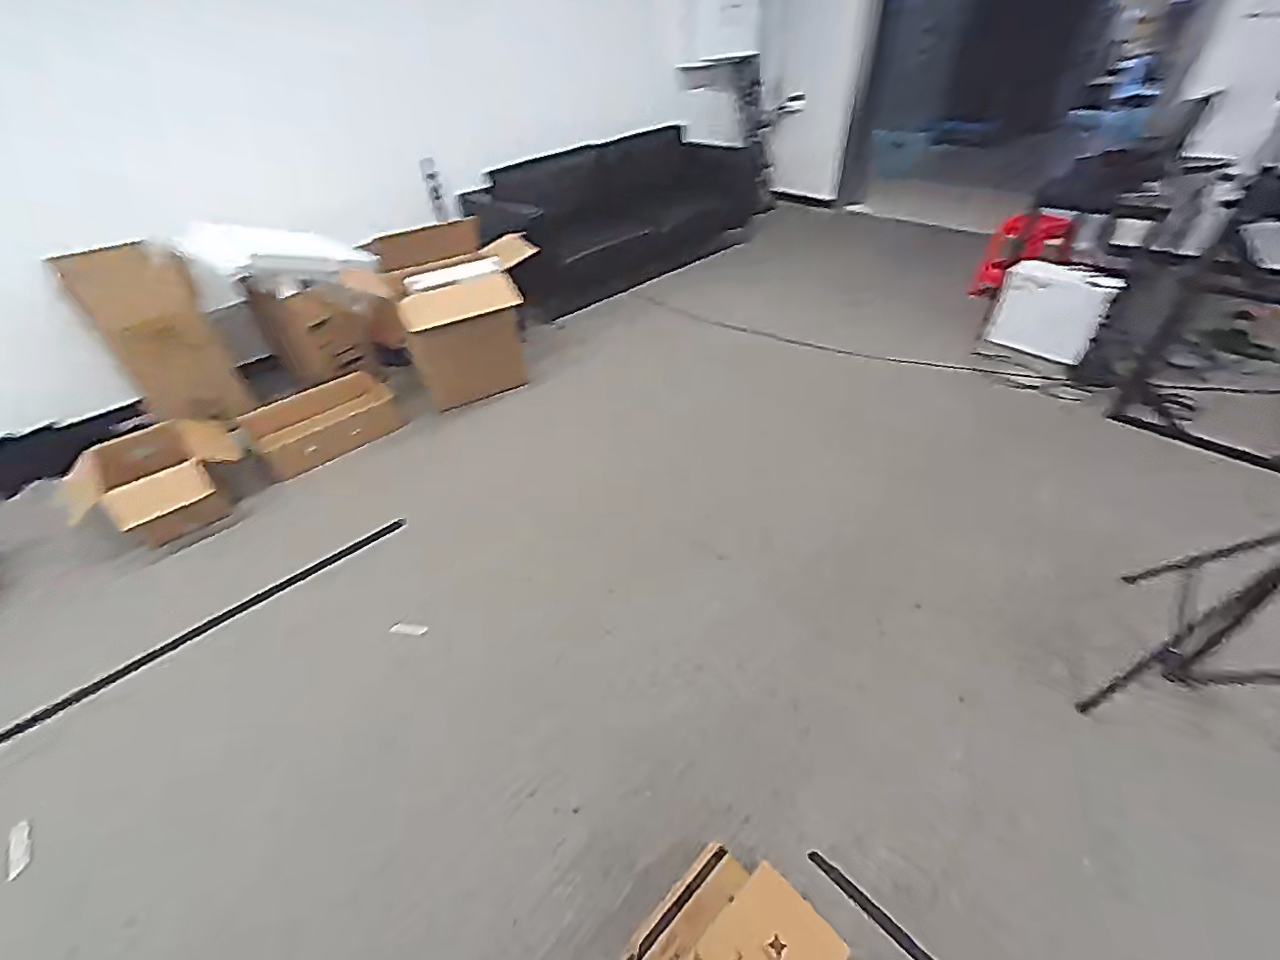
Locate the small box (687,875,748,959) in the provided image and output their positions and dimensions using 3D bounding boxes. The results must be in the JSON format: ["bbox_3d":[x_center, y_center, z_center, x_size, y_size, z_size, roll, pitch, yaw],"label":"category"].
[{"bbox_3d":[0.199,0.888,0.995,0.179,0.176,0.168,-34,49,-30],"label":"small box"}]

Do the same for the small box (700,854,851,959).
[{"bbox_3d":[0.208,0.768,0.880,0.179,0.176,0.168,-32,48,-29],"label":"small box"}]
